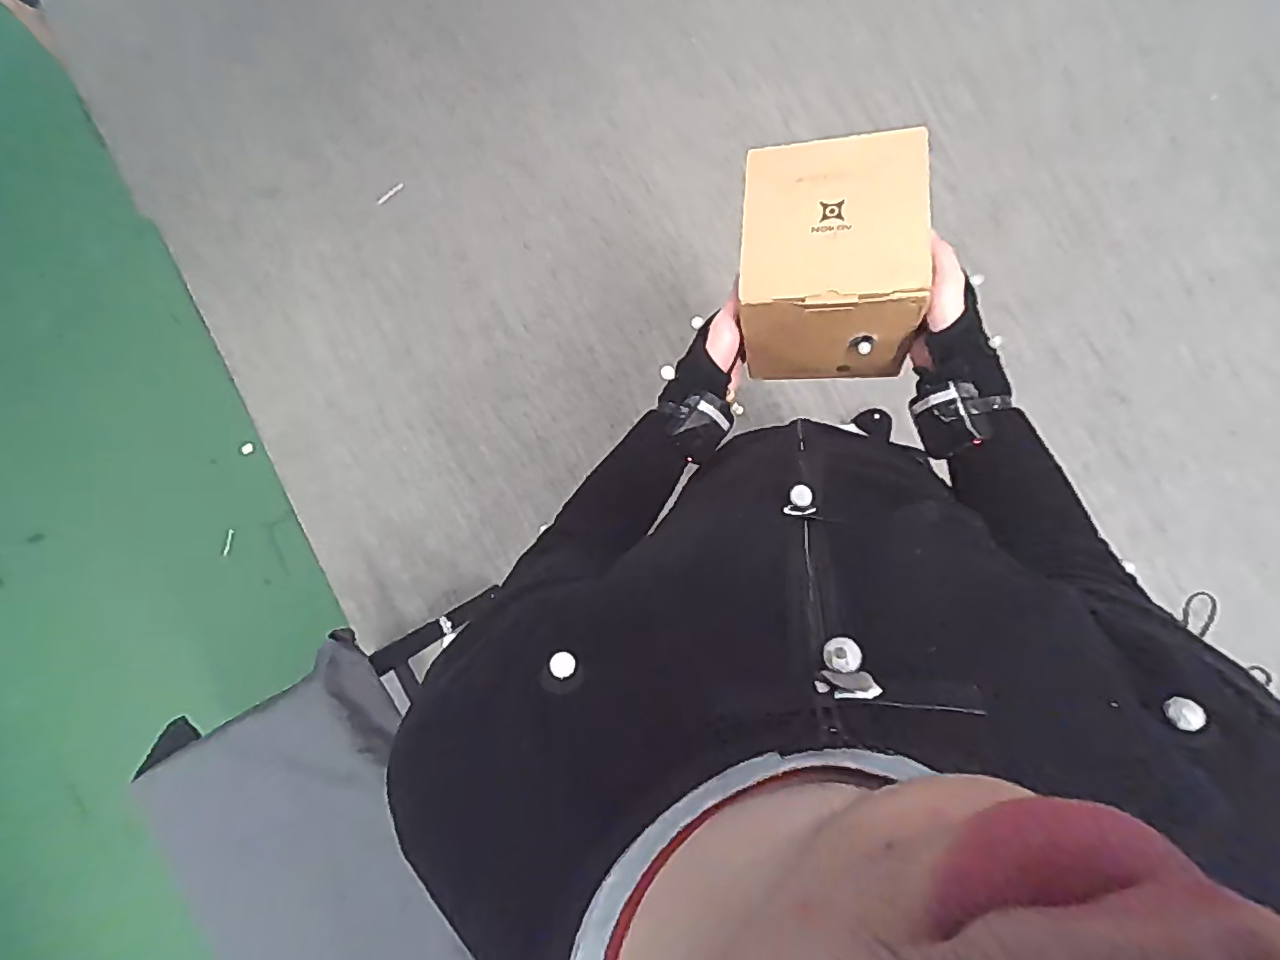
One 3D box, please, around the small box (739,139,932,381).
[{"bbox_3d":[0.199,-0.216,0.576,0.168,0.176,0.179,2,73,14],"label":"small box"}]
